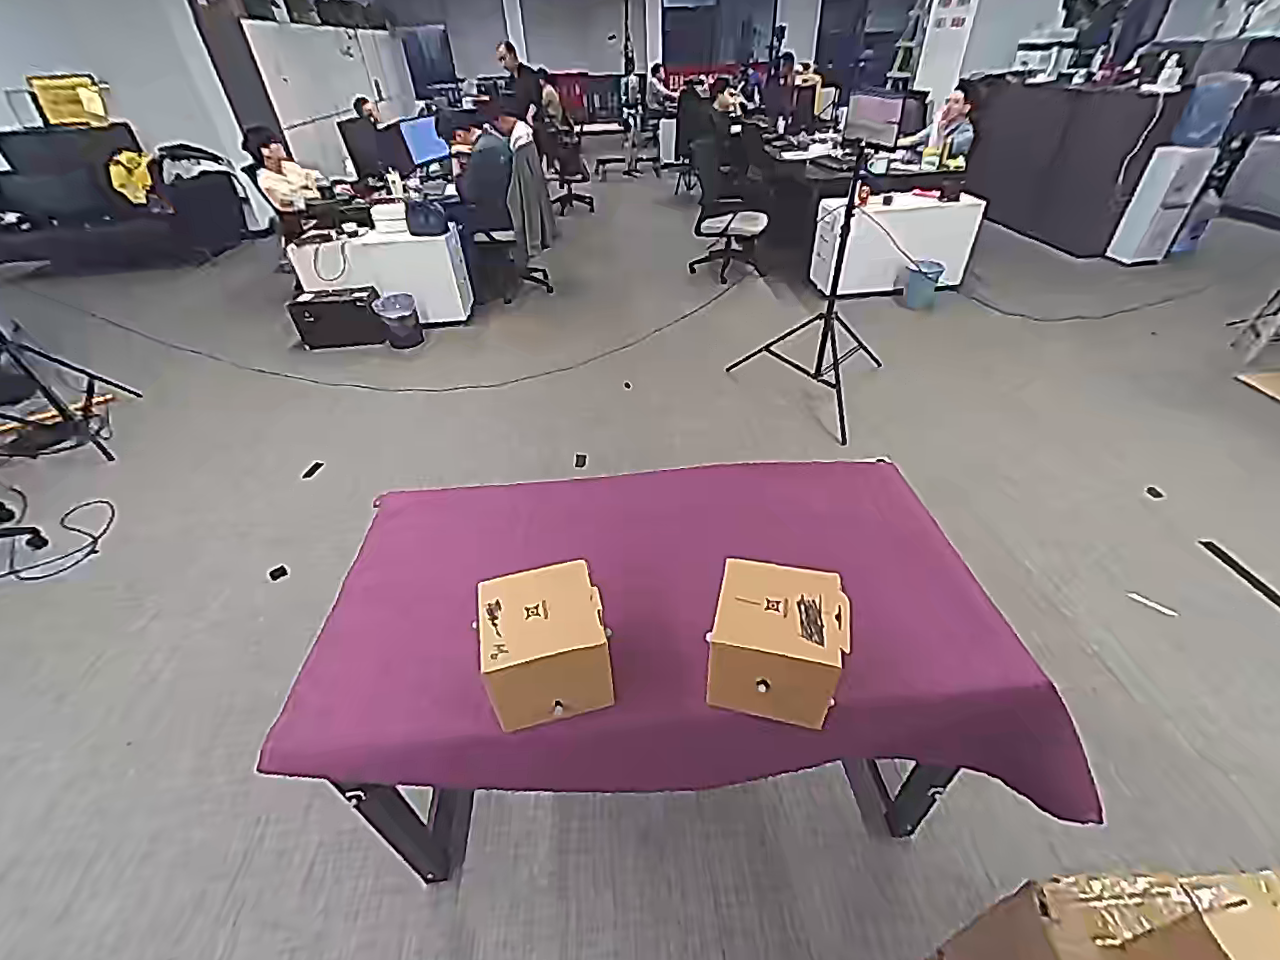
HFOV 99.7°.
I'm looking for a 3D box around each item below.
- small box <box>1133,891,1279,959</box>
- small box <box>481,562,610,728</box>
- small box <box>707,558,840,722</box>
[{"bbox_3d":[0.697,0.568,0.574,0.168,0.176,0.179,-8,40,-2],"label":"small box"},{"bbox_3d":[-0.145,0.259,0.853,0.179,0.176,0.168,-10,38,-10],"label":"small box"},{"bbox_3d":[0.205,0.249,0.840,0.179,0.176,0.168,7,39,14],"label":"small box"}]
